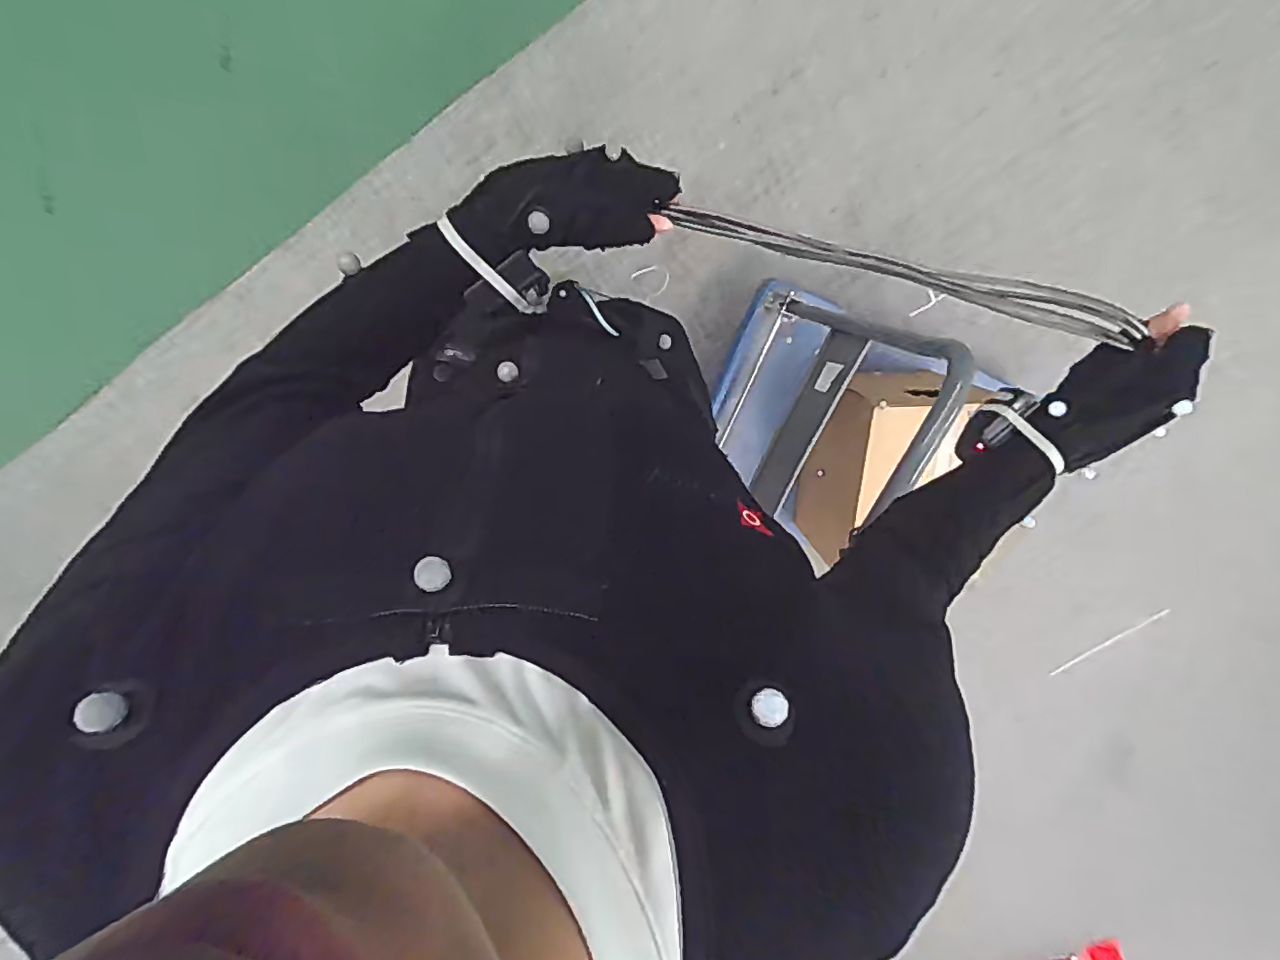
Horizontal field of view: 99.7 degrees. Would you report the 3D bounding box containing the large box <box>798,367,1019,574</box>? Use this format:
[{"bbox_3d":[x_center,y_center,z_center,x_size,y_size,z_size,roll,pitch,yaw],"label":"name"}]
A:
[{"bbox_3d":[0.581,-0.035,1.255,0.320,0.320,0.408,-2,112,-6],"label":"large box"}]
